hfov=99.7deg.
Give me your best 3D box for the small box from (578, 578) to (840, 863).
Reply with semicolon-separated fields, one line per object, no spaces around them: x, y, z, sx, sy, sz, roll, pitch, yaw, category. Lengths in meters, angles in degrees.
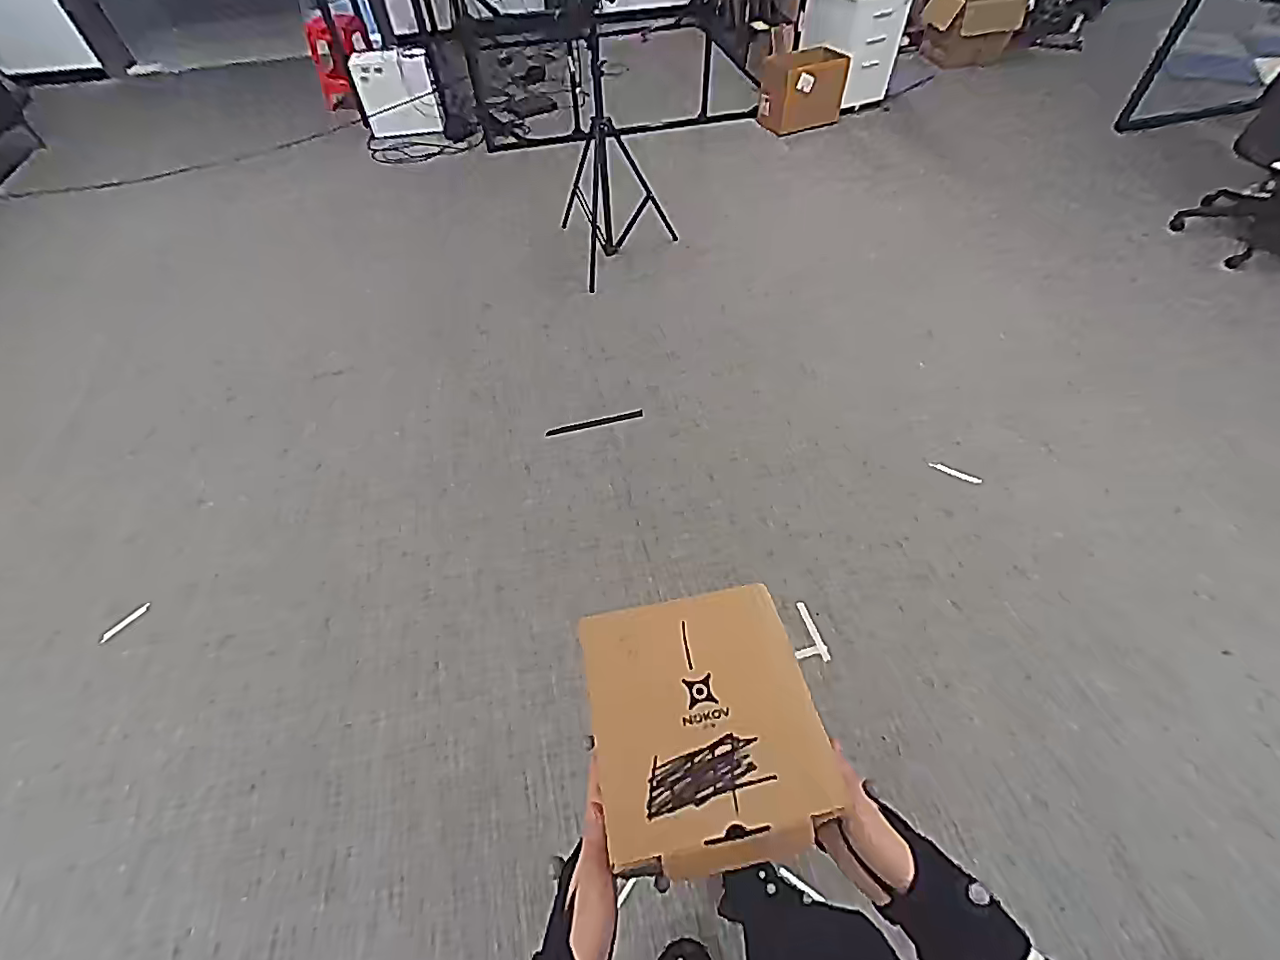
0.045;0.213;0.470;0.168;0.176;0.179;-10;51;-6;small box
